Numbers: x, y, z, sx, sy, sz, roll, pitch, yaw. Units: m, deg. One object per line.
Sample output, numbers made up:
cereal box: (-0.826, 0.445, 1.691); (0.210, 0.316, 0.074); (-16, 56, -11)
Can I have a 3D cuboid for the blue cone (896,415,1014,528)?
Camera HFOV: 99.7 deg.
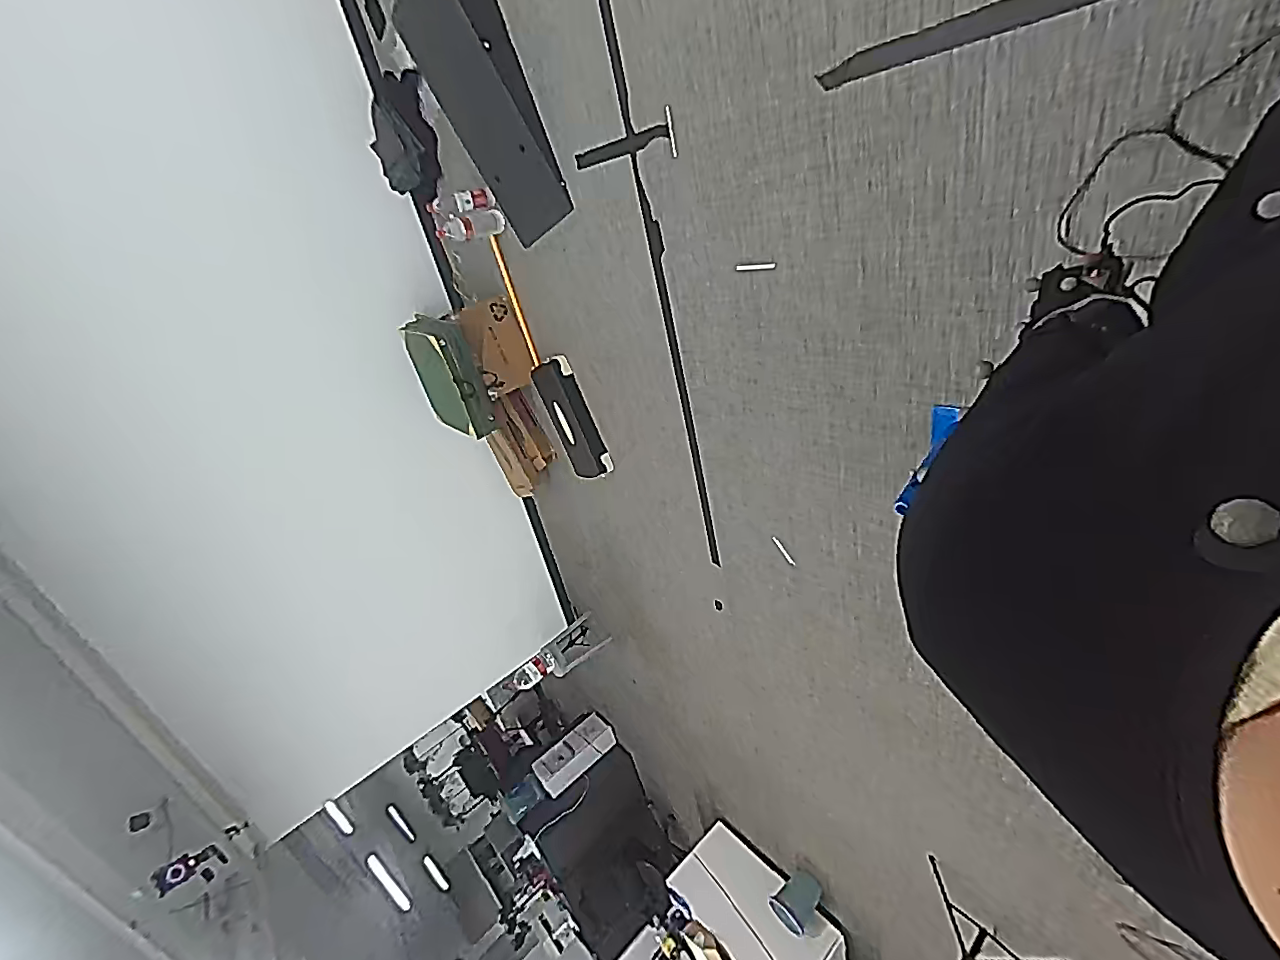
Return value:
blue cone: (0.728, 0.000, 1.306); (0.193, 0.380, 0.192); (21, 134, 48)
